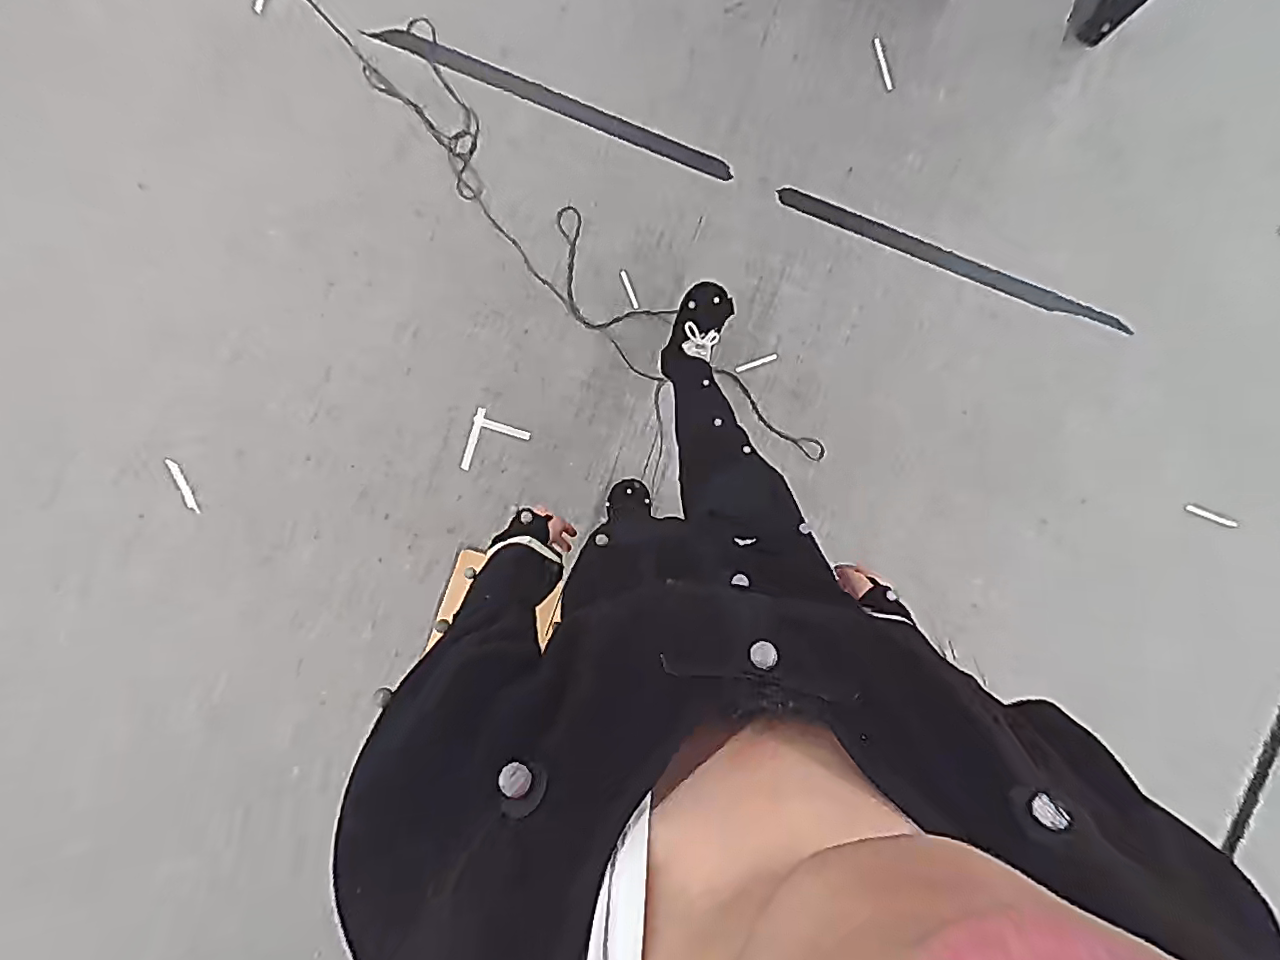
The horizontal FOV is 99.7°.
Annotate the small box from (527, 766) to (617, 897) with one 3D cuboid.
[{"bbox_3d":[-0.151,0.809,1.259,0.168,0.176,0.179,15,92,-3],"label":"small box"}]
